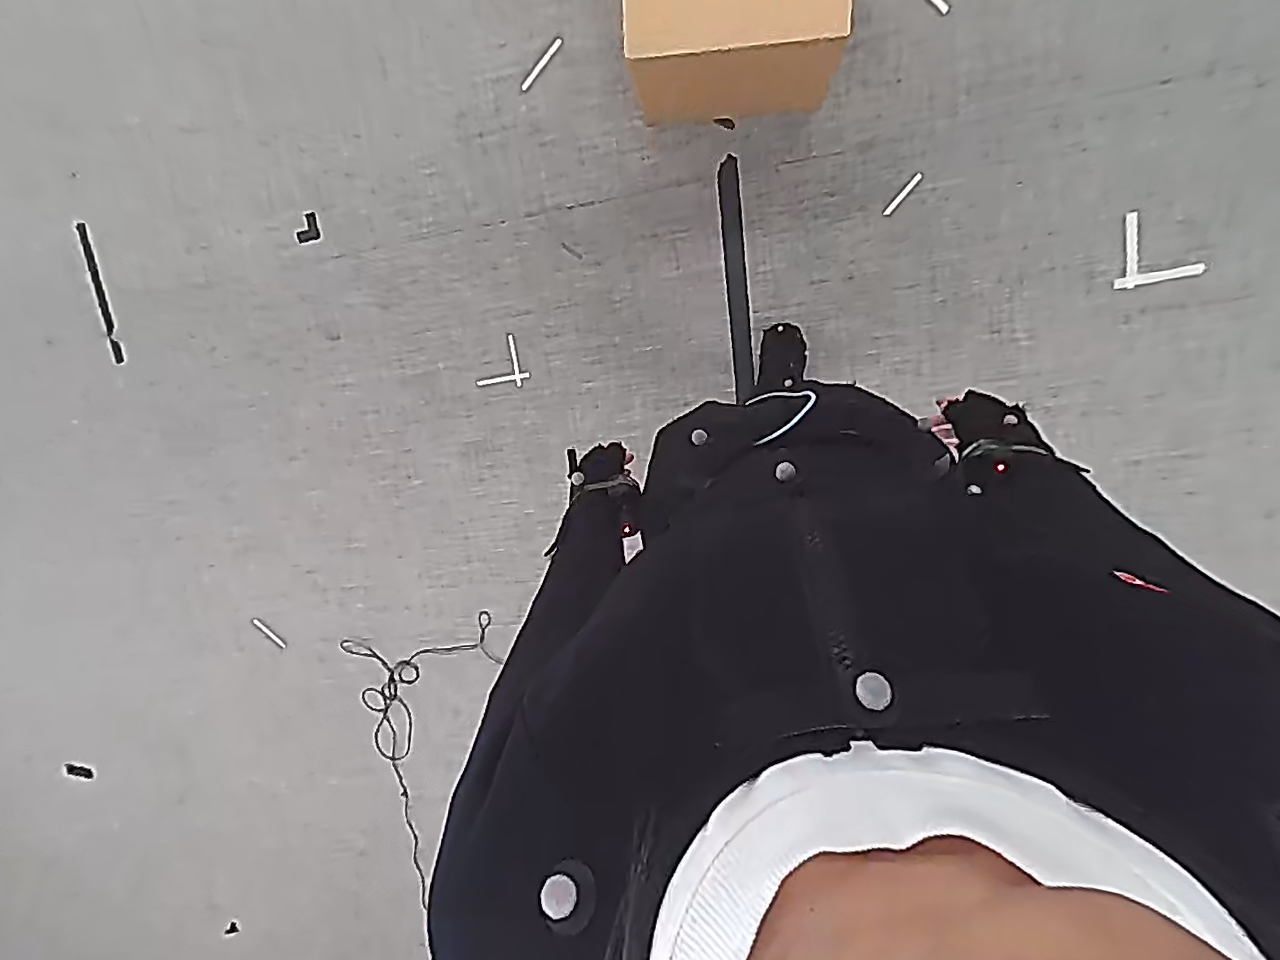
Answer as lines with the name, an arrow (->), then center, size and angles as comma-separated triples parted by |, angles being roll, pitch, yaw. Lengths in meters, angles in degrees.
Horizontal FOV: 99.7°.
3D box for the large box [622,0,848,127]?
large box -> 0.178, -0.956, 1.087 | 0.408, 0.320, 0.320 | 0, 103, 7
